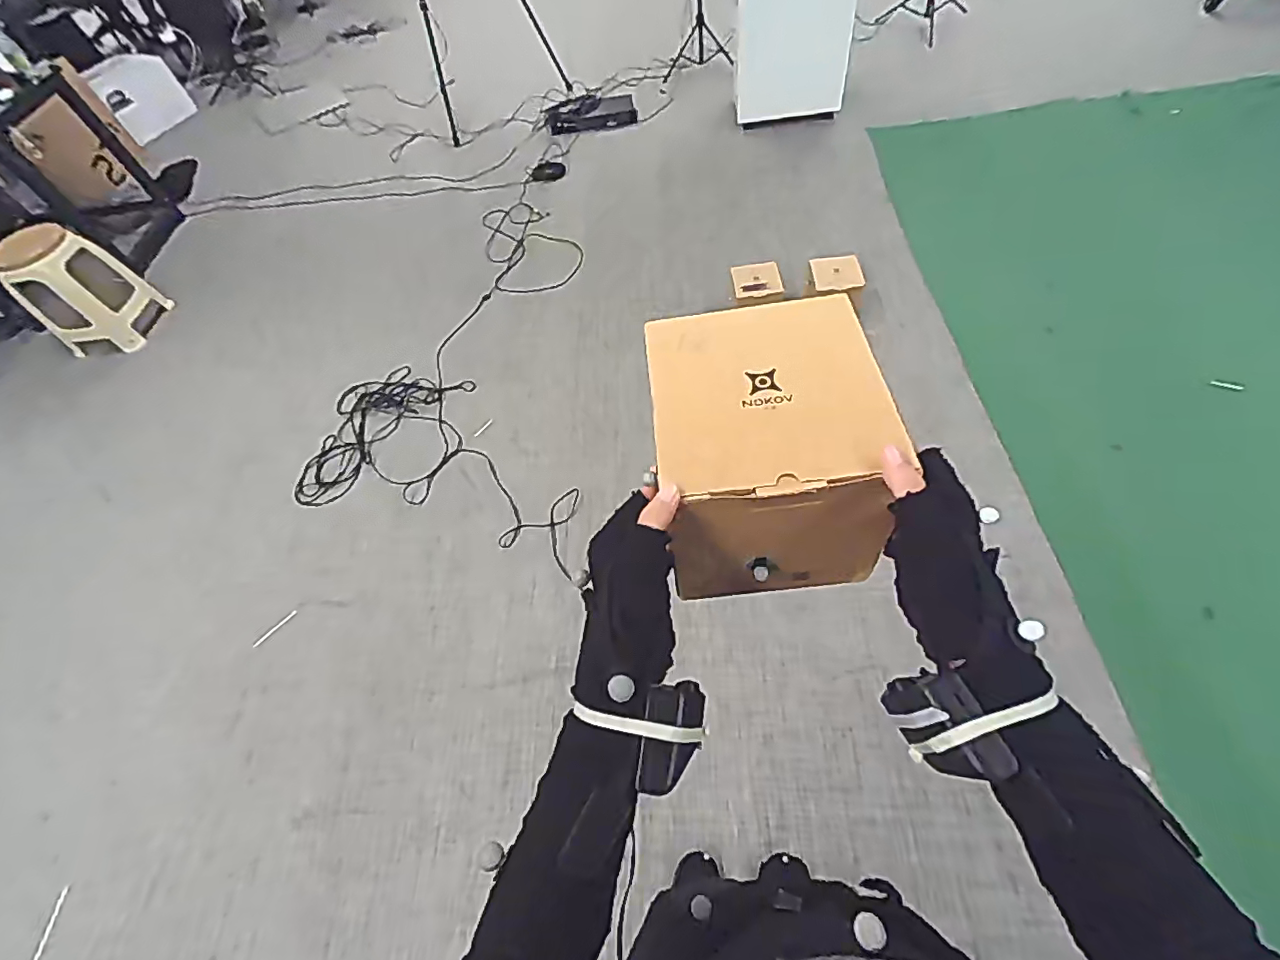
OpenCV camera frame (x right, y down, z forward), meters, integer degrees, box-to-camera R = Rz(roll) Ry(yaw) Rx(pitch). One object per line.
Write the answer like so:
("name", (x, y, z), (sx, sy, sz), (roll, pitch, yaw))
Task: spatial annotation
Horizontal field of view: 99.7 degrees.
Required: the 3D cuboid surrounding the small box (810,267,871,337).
("small box", (0.727, -0.651, 1.980), (0.168, 0.176, 0.179), (-3, 57, 8))
